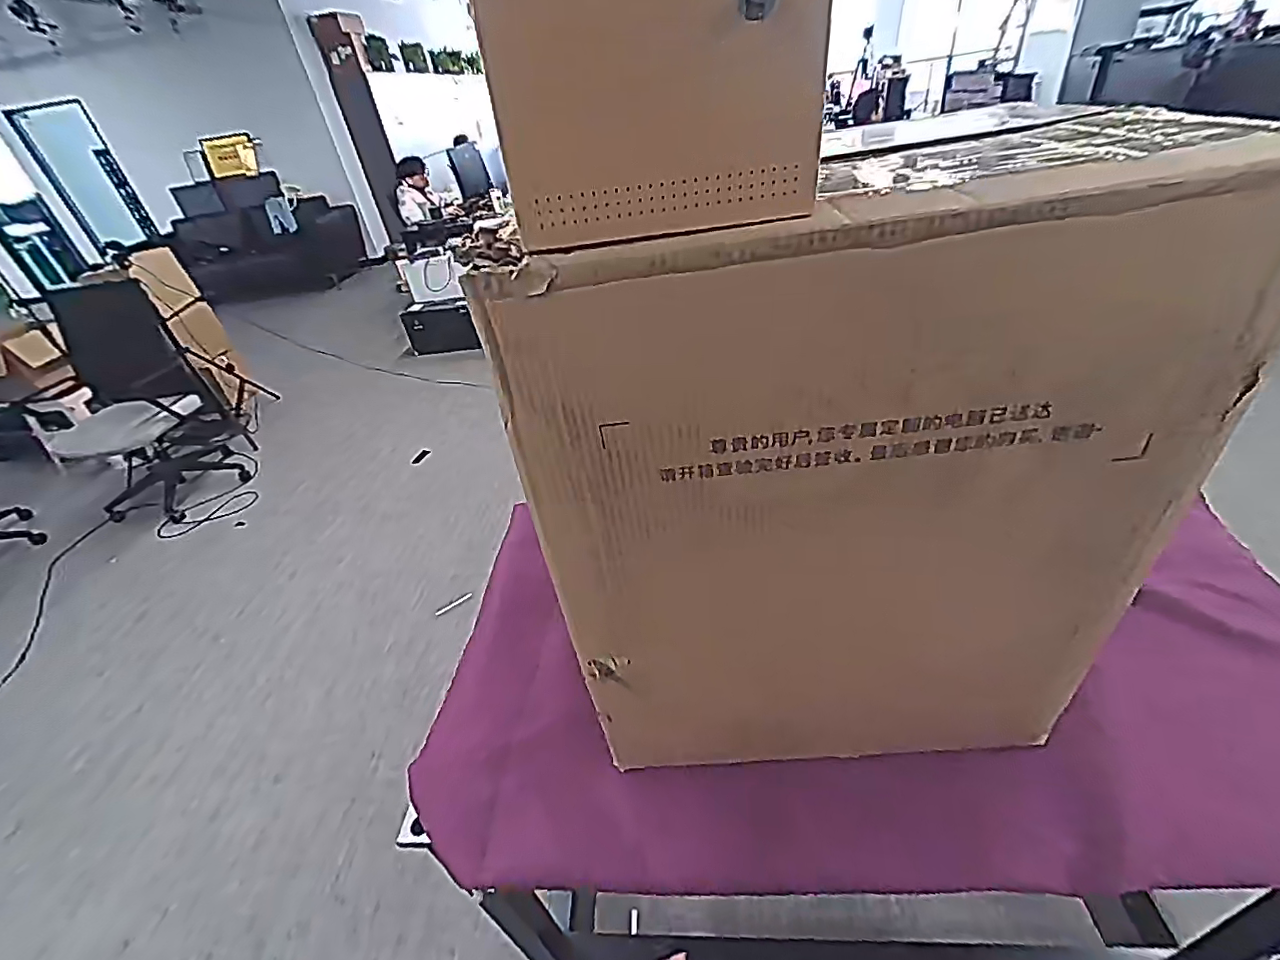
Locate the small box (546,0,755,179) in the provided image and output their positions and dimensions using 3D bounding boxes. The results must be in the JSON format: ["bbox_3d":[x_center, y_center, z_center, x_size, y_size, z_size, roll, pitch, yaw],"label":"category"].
[{"bbox_3d":[0.019,-0.390,0.508,0.168,0.176,0.179,-3,36,6],"label":"small box"}]
